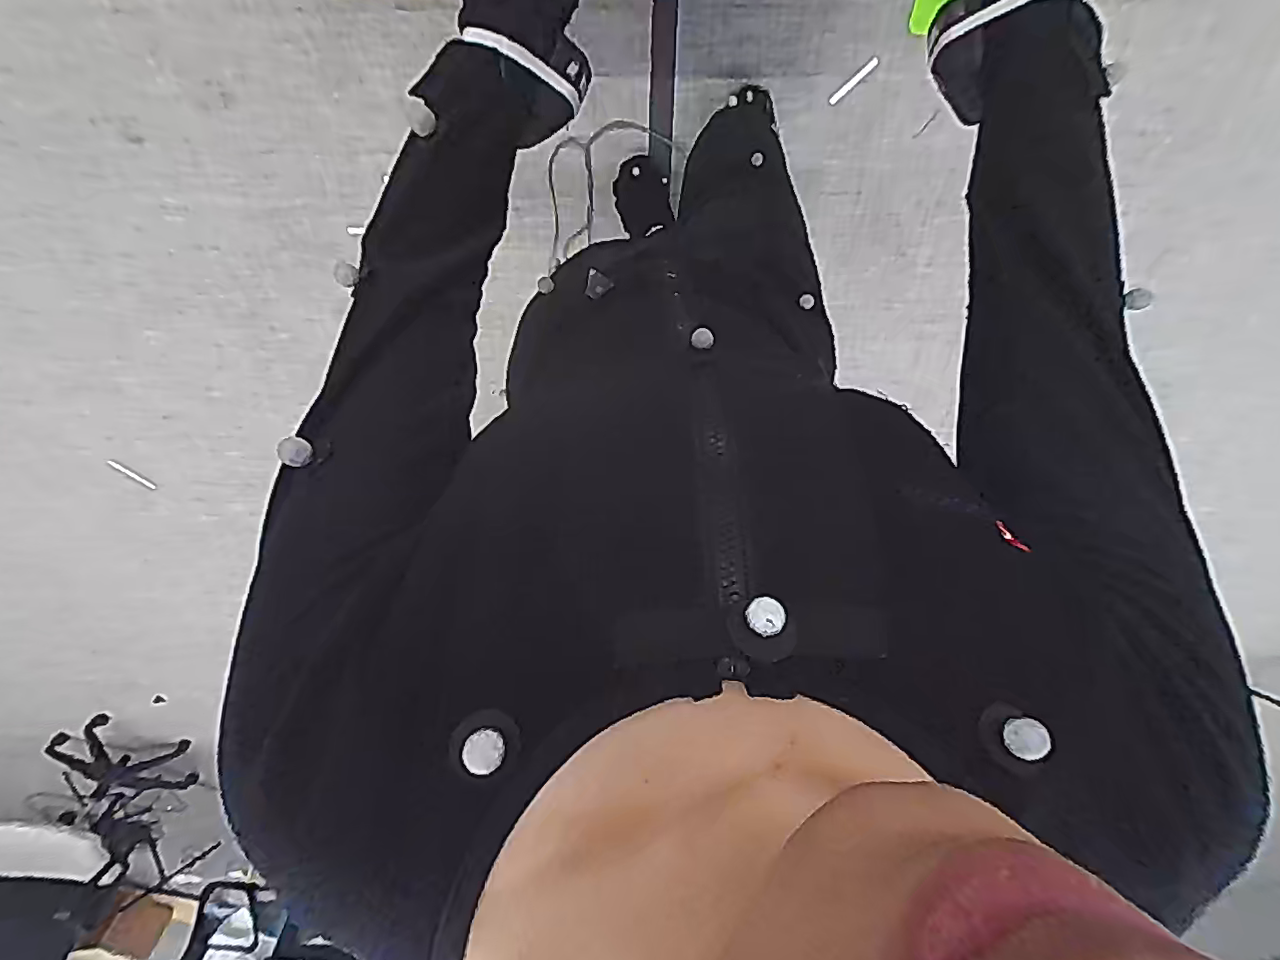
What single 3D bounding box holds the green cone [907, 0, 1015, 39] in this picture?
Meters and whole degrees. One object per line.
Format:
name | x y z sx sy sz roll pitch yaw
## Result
green cone | 0.619 -0.845 0.858 0.202 0.368 0.200 2 127 -4
